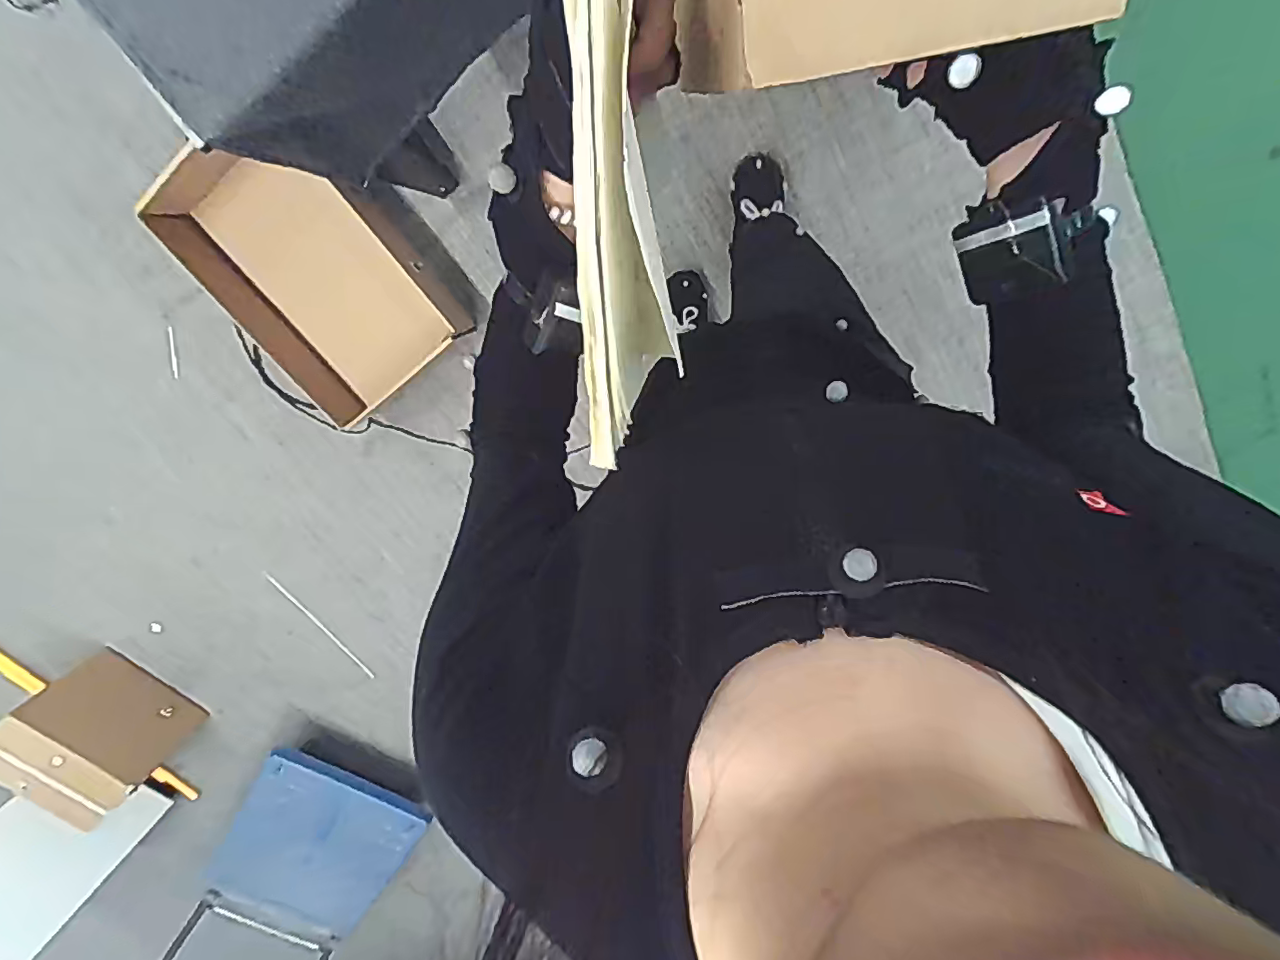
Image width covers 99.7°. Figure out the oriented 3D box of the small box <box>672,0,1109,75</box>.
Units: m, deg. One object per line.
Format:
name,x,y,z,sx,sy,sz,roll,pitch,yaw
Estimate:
small box,0.109,-0.310,0.259,0.179,0.176,0.168,-10,125,1
